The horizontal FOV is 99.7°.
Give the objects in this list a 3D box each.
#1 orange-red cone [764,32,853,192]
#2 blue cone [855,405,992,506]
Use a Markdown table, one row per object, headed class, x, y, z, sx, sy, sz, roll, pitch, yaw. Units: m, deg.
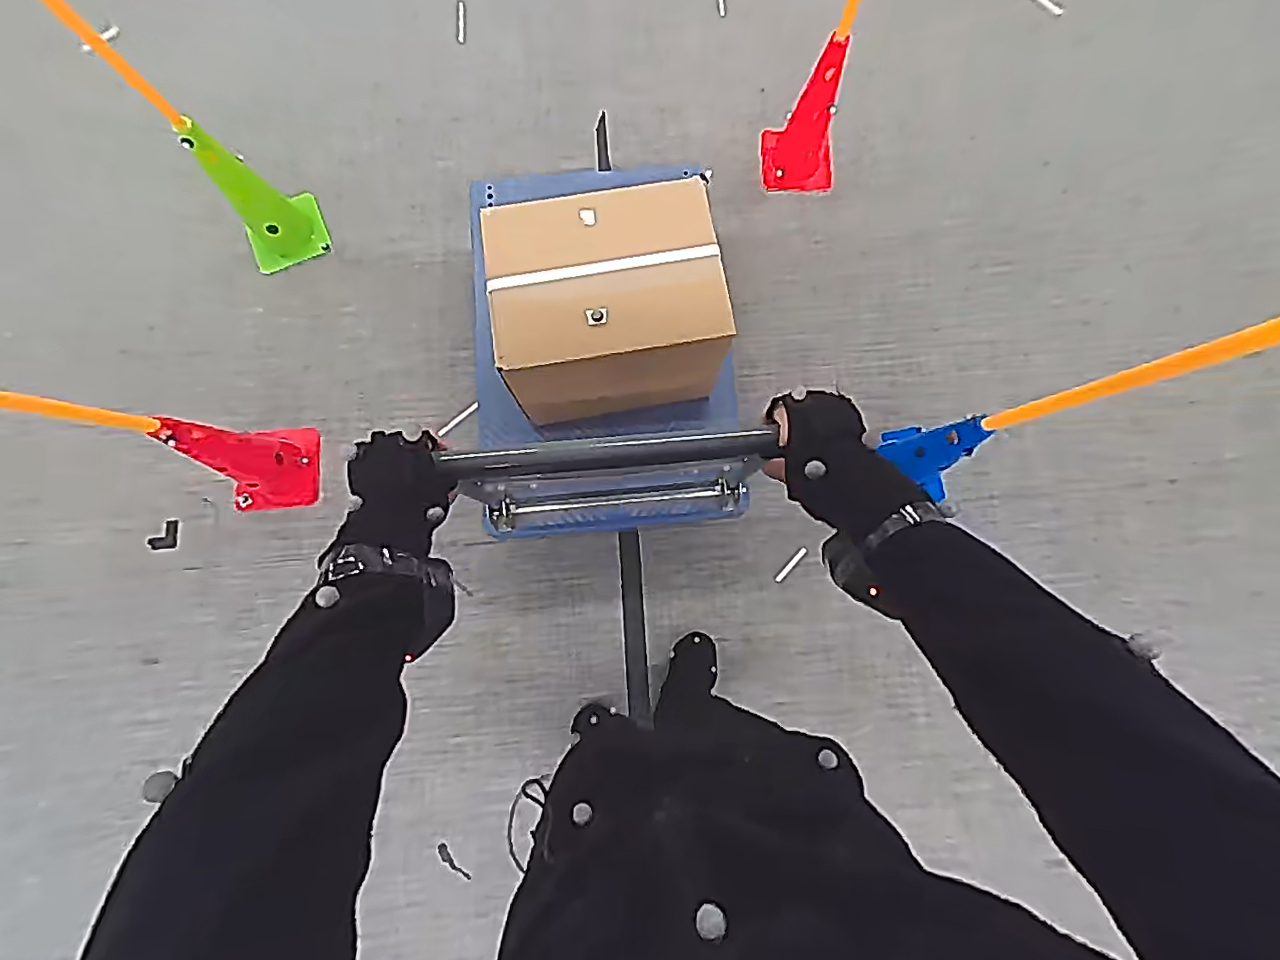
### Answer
| class | x | y | z | sx | sy | sz | roll | pitch | yaw |
| --- | --- | --- | --- | --- | --- | --- | --- | --- | --- |
| orange-red cone | 0.456 | -0.945 | 1.372 | 0.199 | 0.360 | 0.198 | 2 | 78 | -1 |
| blue cone | 0.651 | -0.072 | 1.199 | 0.193 | 0.380 | 0.192 | -8 | 77 | -2 |
